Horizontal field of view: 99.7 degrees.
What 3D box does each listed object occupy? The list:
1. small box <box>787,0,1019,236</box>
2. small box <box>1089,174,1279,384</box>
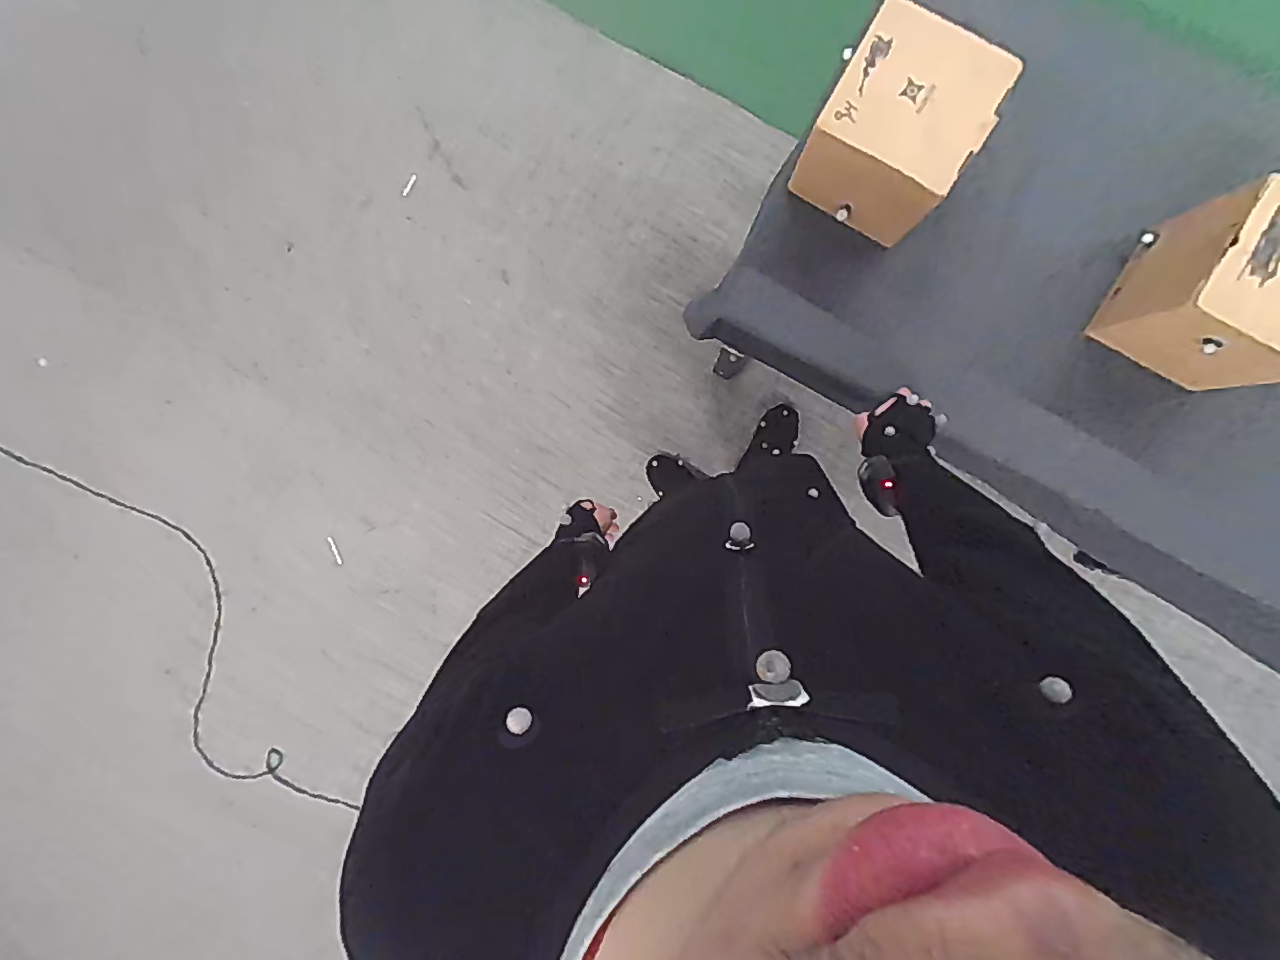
[{"bbox_3d":[0.316,-0.441,0.692,0.179,0.176,0.168,31,96,0],"label":"small box"},{"bbox_3d":[0.734,-0.231,0.677,0.179,0.176,0.168,29,97,0],"label":"small box"}]
